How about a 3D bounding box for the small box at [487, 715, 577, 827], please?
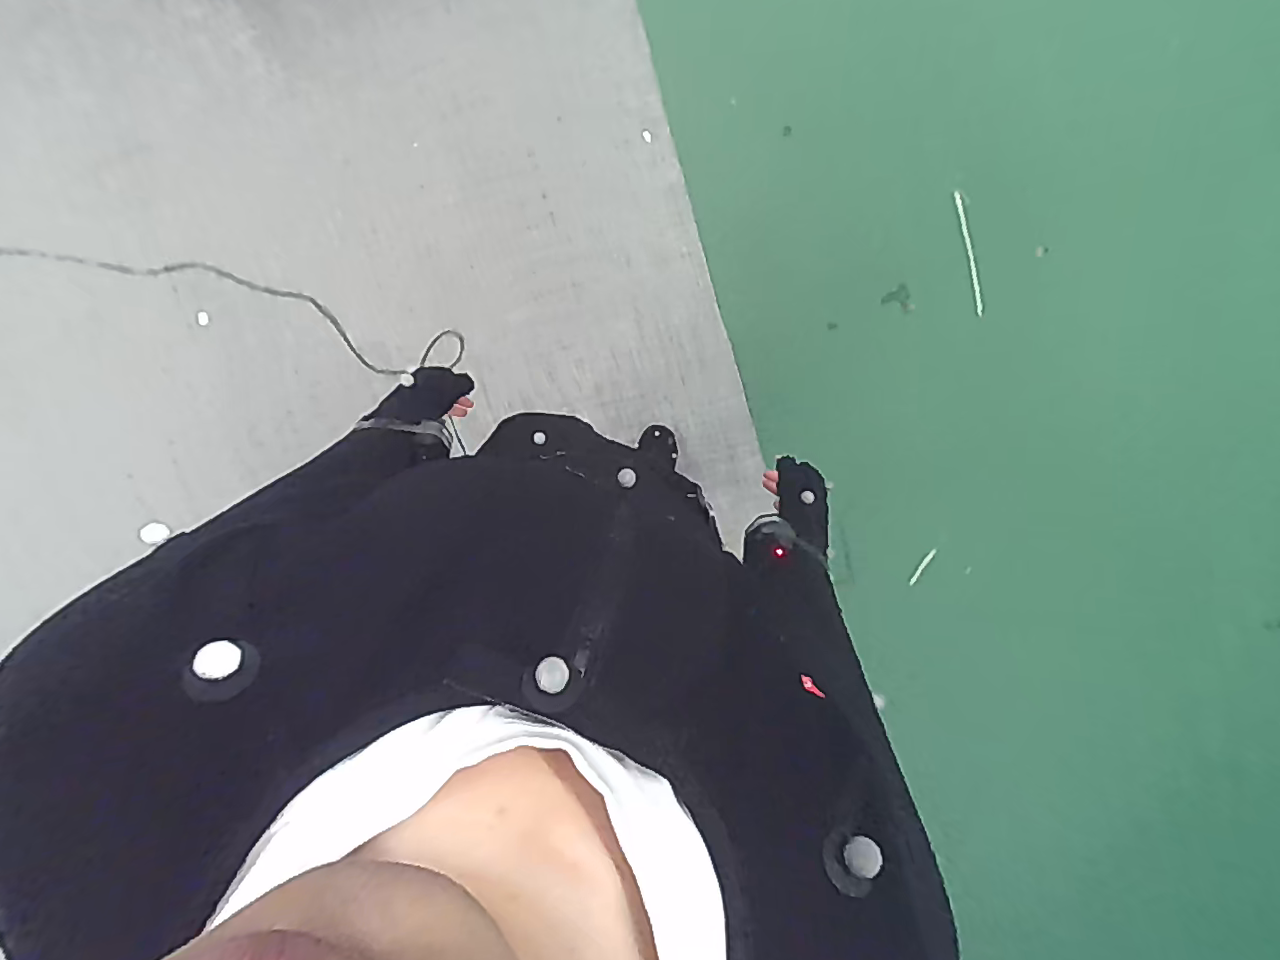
[{"bbox_3d":[-0.274,0.755,1.423,0.179,0.176,0.168,-22,96,2],"label":"small box"}]
